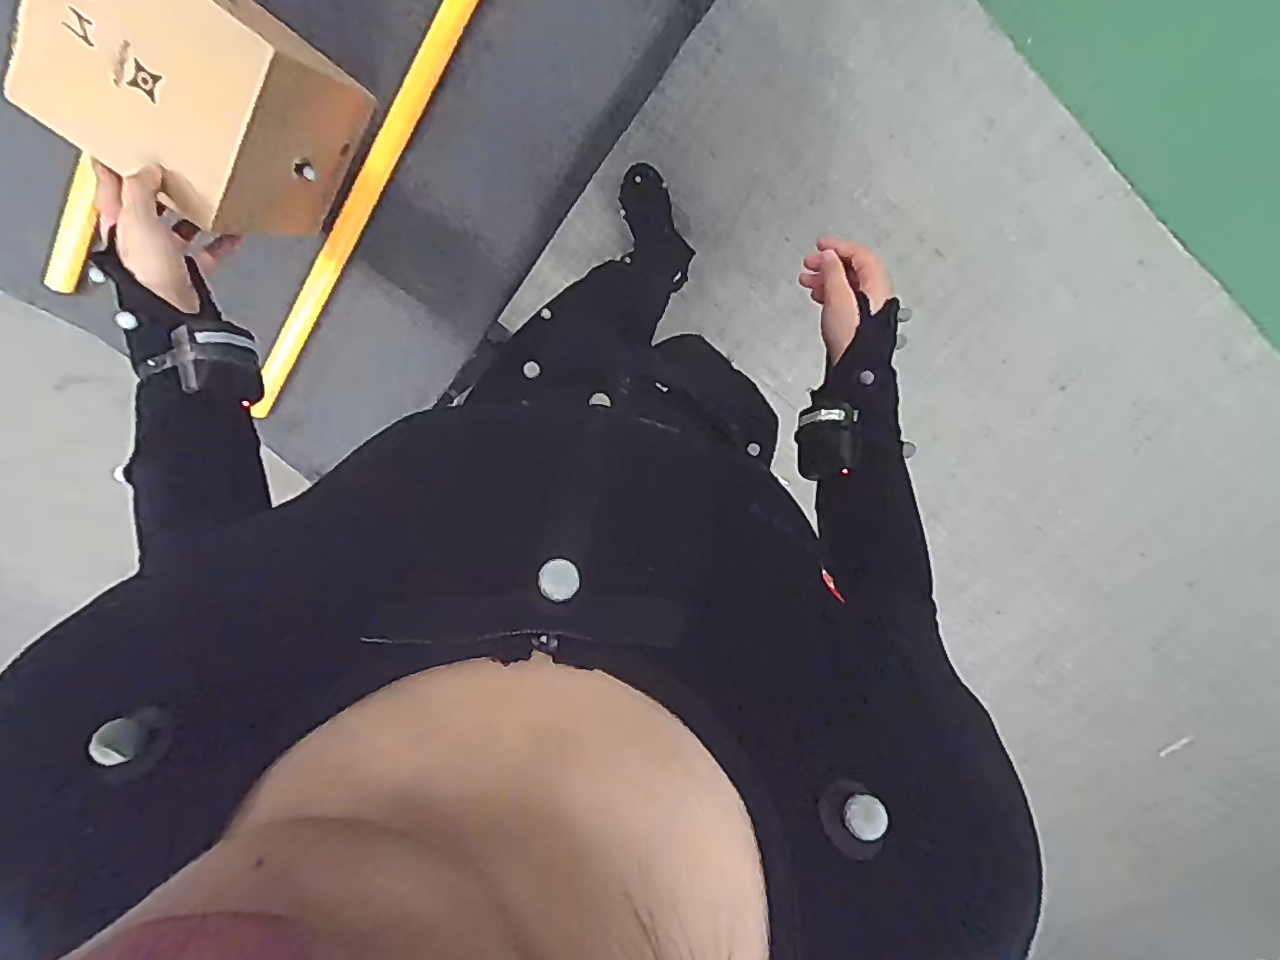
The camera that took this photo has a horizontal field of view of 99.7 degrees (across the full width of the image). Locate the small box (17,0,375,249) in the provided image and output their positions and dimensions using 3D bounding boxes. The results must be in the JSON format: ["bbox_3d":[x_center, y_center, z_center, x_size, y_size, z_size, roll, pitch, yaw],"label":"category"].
[{"bbox_3d":[-0.389,-0.343,0.506,0.179,0.176,0.168,35,110,-12],"label":"small box"}]
